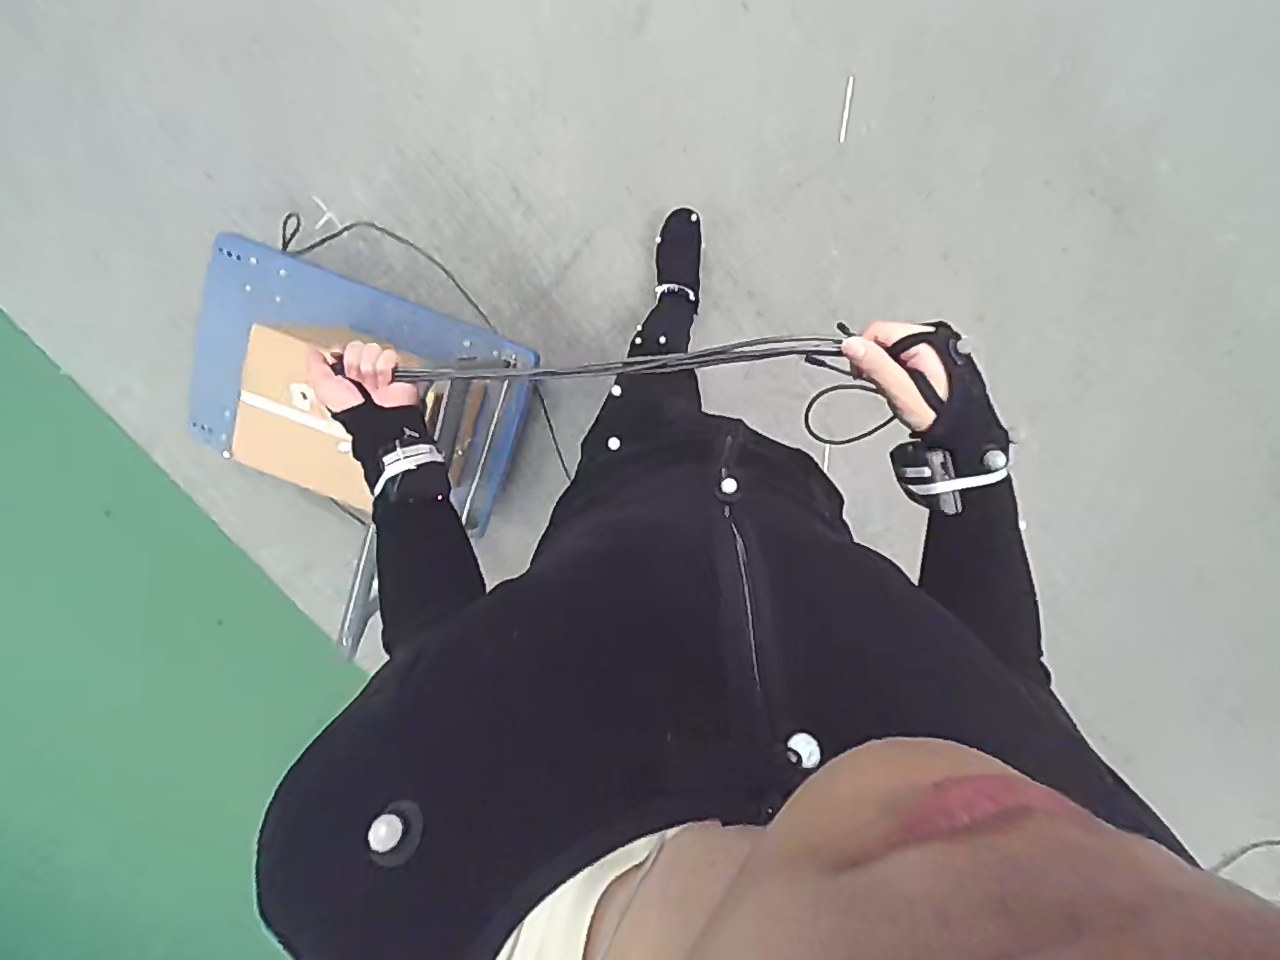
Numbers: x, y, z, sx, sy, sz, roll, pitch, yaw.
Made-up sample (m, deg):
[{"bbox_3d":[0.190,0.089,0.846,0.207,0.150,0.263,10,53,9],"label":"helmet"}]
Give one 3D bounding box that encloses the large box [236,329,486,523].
[{"bbox_3d":[-0.641,-0.142,1.293,0.408,0.320,0.320,21,104,0],"label":"large box"}]
